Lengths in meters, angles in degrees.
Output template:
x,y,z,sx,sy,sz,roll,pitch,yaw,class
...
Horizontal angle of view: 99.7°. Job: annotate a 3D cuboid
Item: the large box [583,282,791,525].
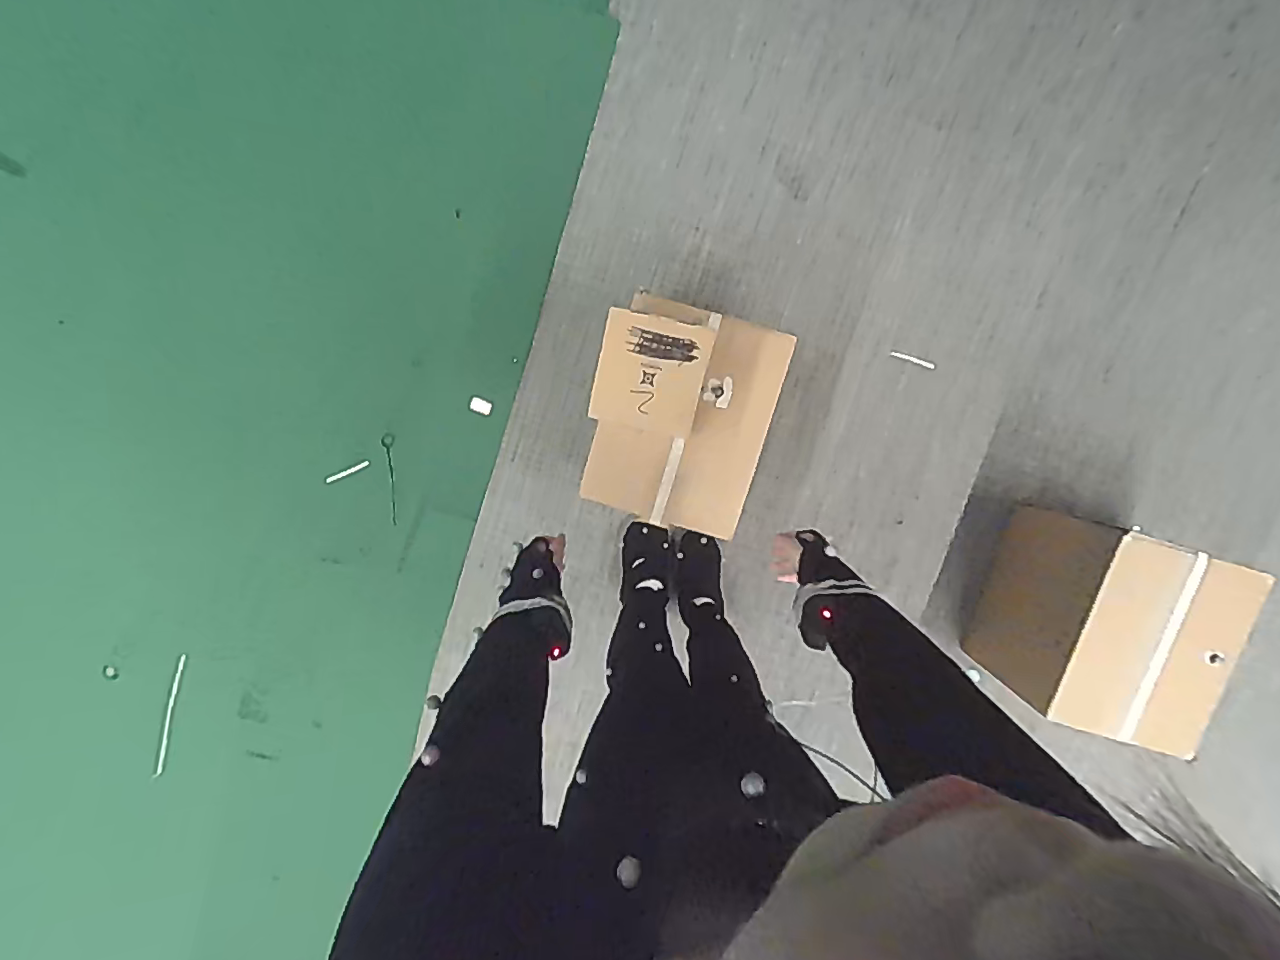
x,y,z,sx,sy,sz,roll,pitch,yaw,class
0.091,-0.156,1.175,0.320,0.320,0.408,17,97,0,large box
